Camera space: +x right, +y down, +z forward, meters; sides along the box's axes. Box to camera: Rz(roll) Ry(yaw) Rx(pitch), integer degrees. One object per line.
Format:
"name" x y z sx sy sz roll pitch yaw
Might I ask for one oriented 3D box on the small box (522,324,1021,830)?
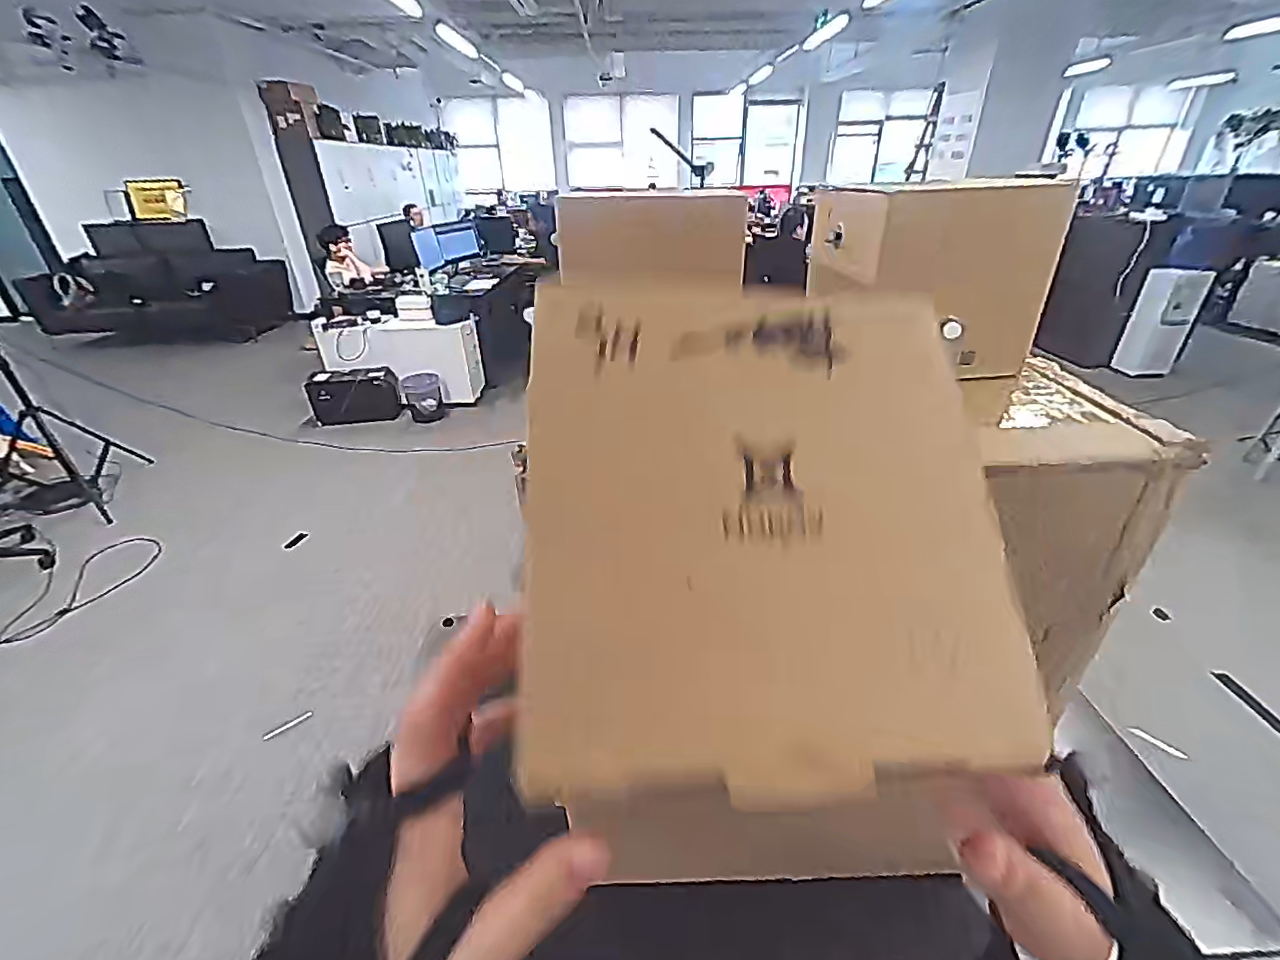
"small box" 0.032 0.044 0.272 0.168 0.176 0.179 -3 72 -8

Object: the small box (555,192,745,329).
"small box" 0.006 -0.203 0.568 0.168 0.176 0.179 -3 30 -2

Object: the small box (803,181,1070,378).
"small box" 0.278 -0.210 0.561 0.168 0.176 0.179 -4 30 -1
